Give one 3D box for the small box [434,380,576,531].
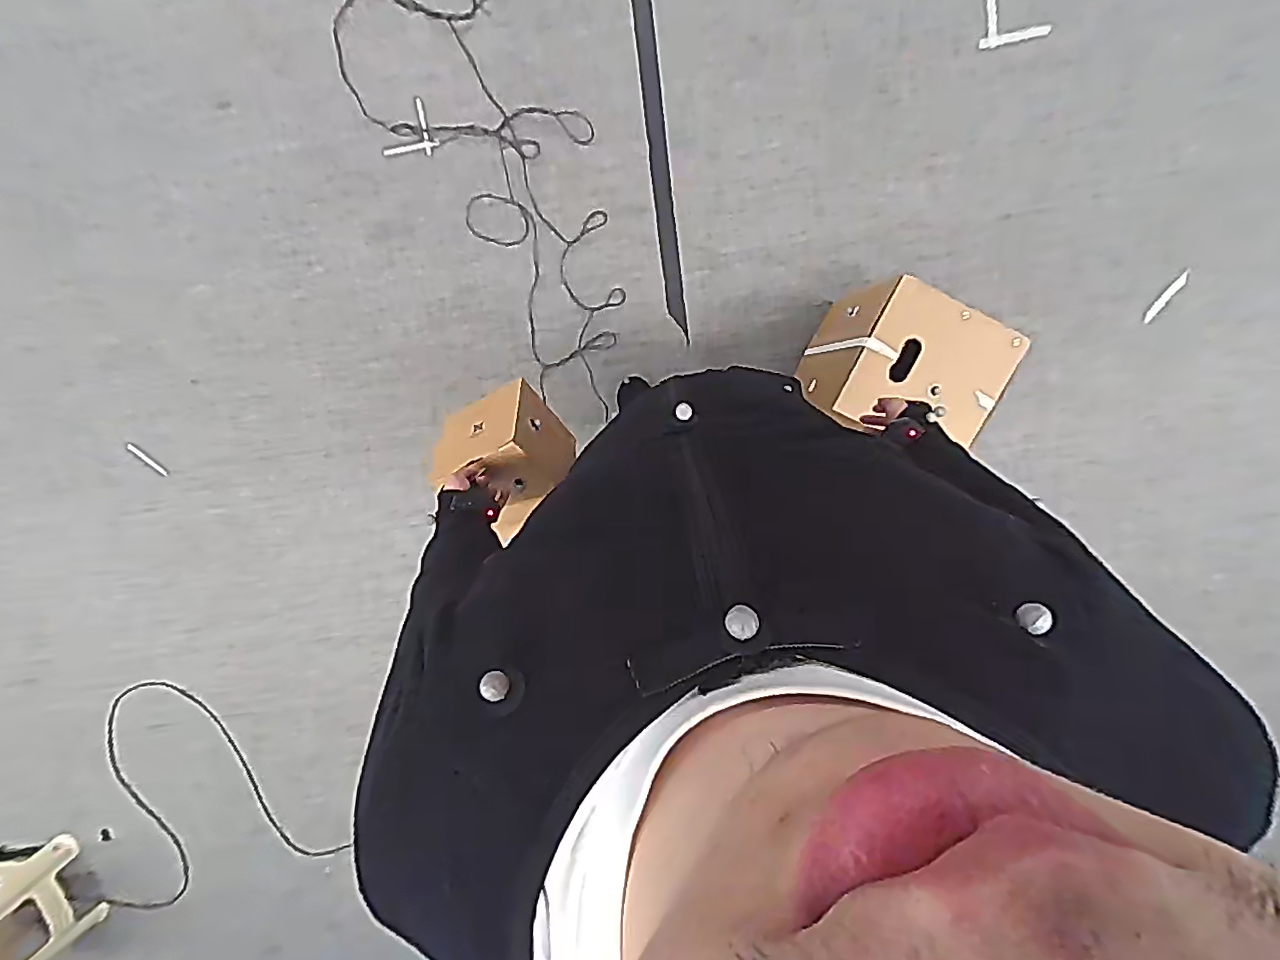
[{"bbox_3d":[-0.223,-0.033,0.941,0.168,0.179,0.176,-26,130,16],"label":"small box"}]
